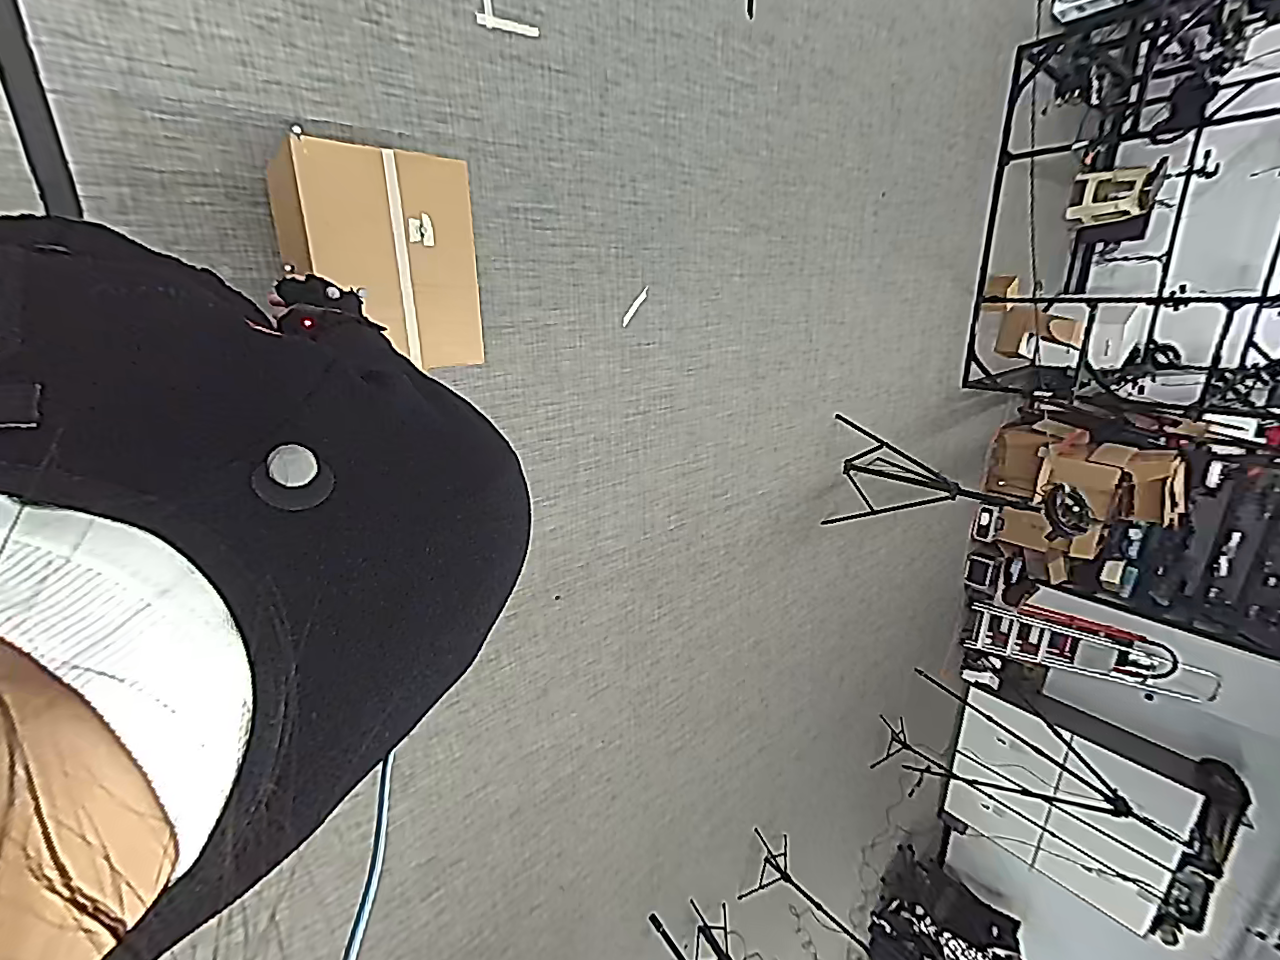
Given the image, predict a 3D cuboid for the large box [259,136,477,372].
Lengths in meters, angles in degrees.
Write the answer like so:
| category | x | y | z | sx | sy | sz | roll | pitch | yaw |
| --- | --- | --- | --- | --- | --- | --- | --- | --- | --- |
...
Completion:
| category | x | y | z | sx | sy | sz | roll | pitch | yaw |
| --- | --- | --- | --- | --- | --- | --- | --- | --- | --- |
| large box | -0.586 | -0.458 | 1.176 | 0.320 | 0.320 | 0.408 | -16 | 112 | -40 |
